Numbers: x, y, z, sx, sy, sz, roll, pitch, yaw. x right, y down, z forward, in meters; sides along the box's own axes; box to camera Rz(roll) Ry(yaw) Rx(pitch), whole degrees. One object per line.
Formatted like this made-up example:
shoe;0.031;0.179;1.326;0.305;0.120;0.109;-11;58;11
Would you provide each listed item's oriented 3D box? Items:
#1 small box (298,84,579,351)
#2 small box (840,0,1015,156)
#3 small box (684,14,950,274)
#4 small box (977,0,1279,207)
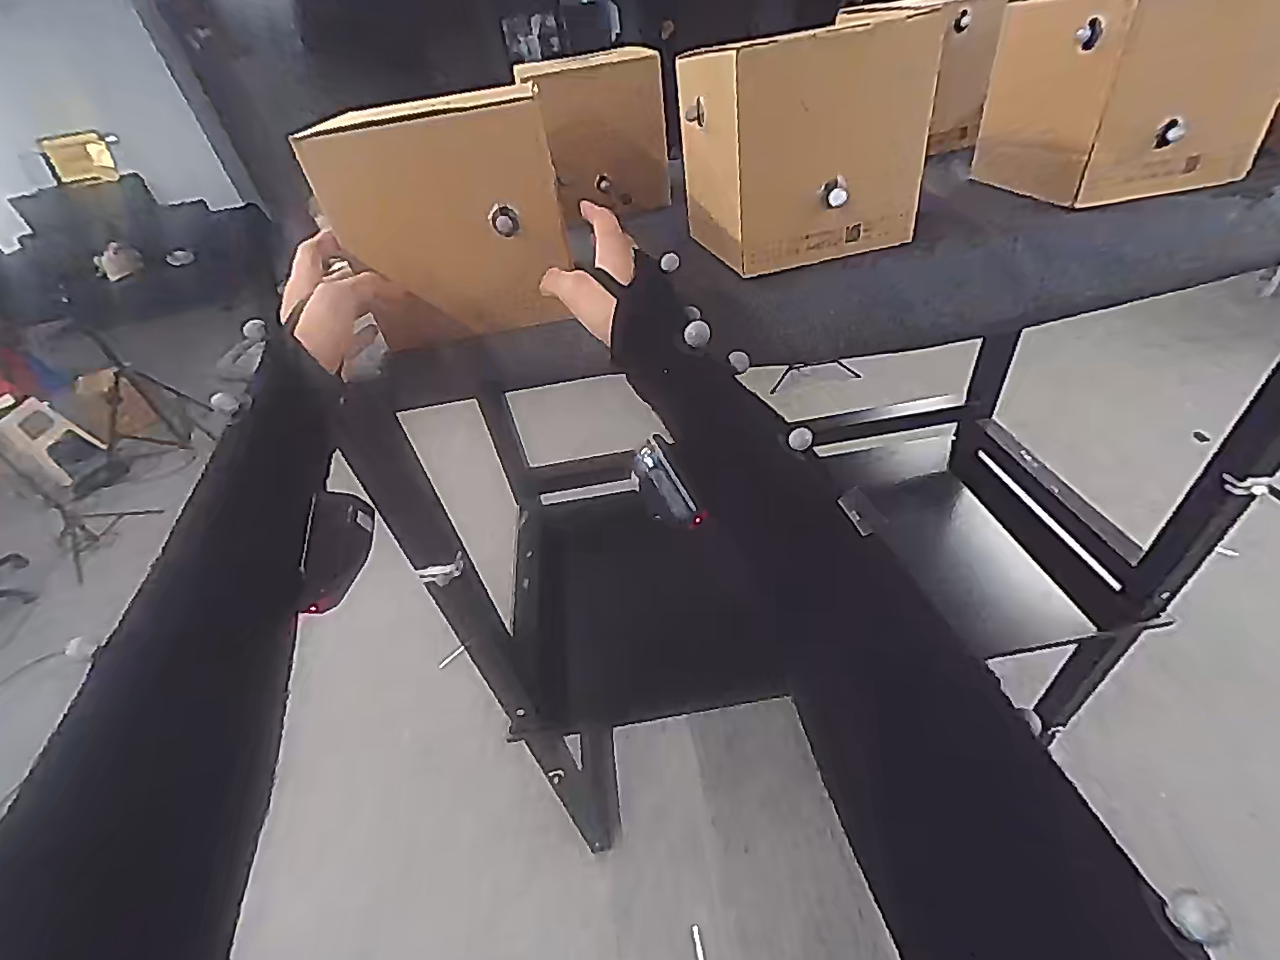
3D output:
small box;-0.154;-0.236;0.486;0.179;0.176;0.168;-11;40;-2
small box;0.390;-0.563;0.759;0.168;0.176;0.179;-17;41;-8
small box;0.146;-0.310;0.509;0.168;0.176;0.179;-14;38;-4
small box;0.474;-0.383;0.533;0.168;0.176;0.179;-10;39;0
